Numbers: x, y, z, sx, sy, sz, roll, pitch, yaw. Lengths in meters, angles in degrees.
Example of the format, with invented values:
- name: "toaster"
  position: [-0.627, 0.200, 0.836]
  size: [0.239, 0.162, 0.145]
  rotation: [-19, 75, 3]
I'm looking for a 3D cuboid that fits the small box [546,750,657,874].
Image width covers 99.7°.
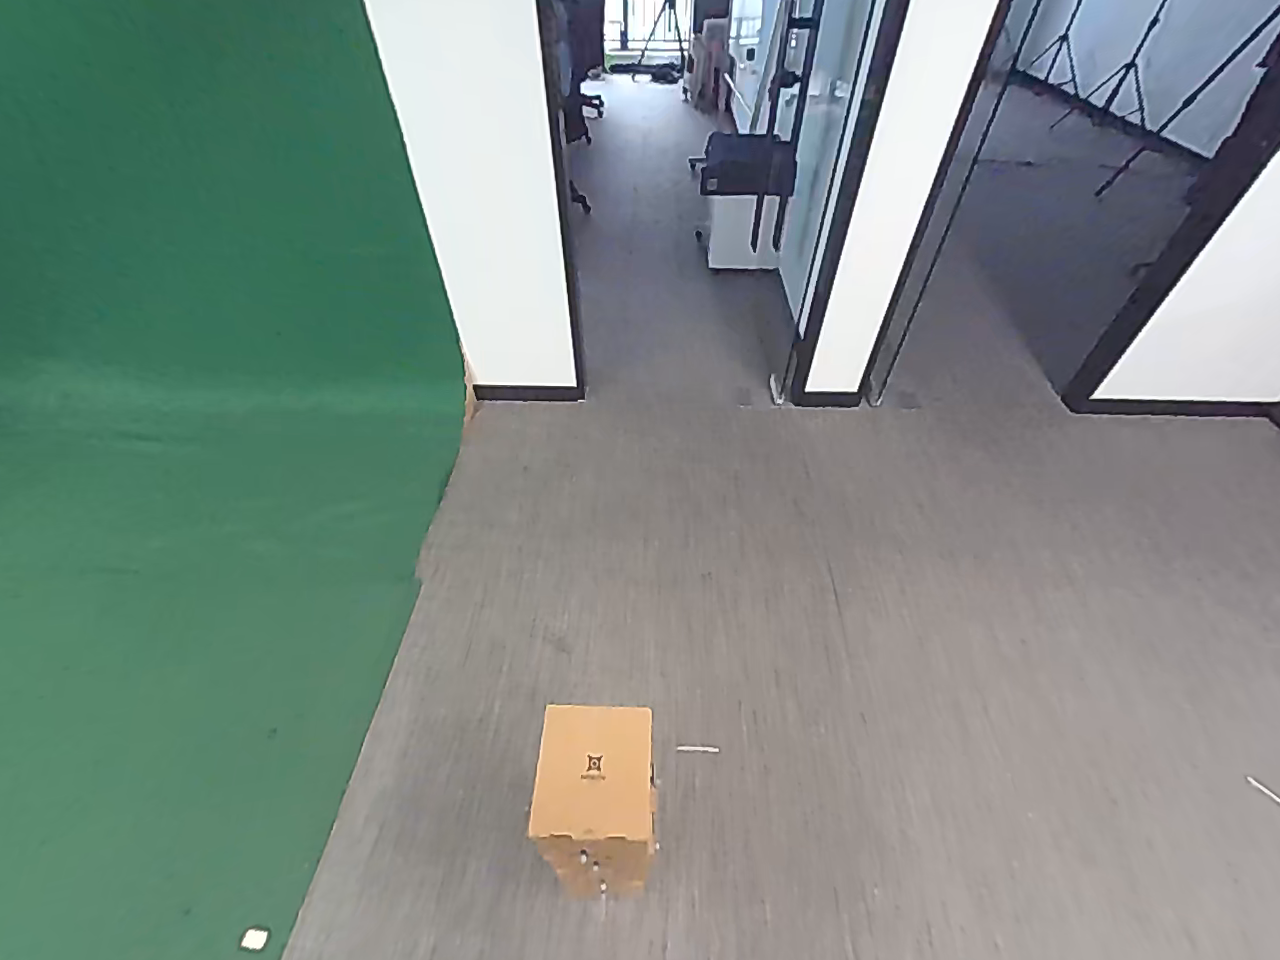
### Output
- name: "small box"
  position: [-0.059, 0.585, 0.959]
  size: [0.179, 0.176, 0.168]
  rotation: [0, 47, 1]

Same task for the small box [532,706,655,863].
- name: "small box"
  position: [-0.062, 0.474, 0.841]
  size: [0.168, 0.176, 0.179]
  rotation: [1, 48, 2]

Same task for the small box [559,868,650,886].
- name: "small box"
  position: [-0.066, 0.694, 1.083]
  size: [0.168, 0.176, 0.179]
  rotation: [-2, 47, 0]
